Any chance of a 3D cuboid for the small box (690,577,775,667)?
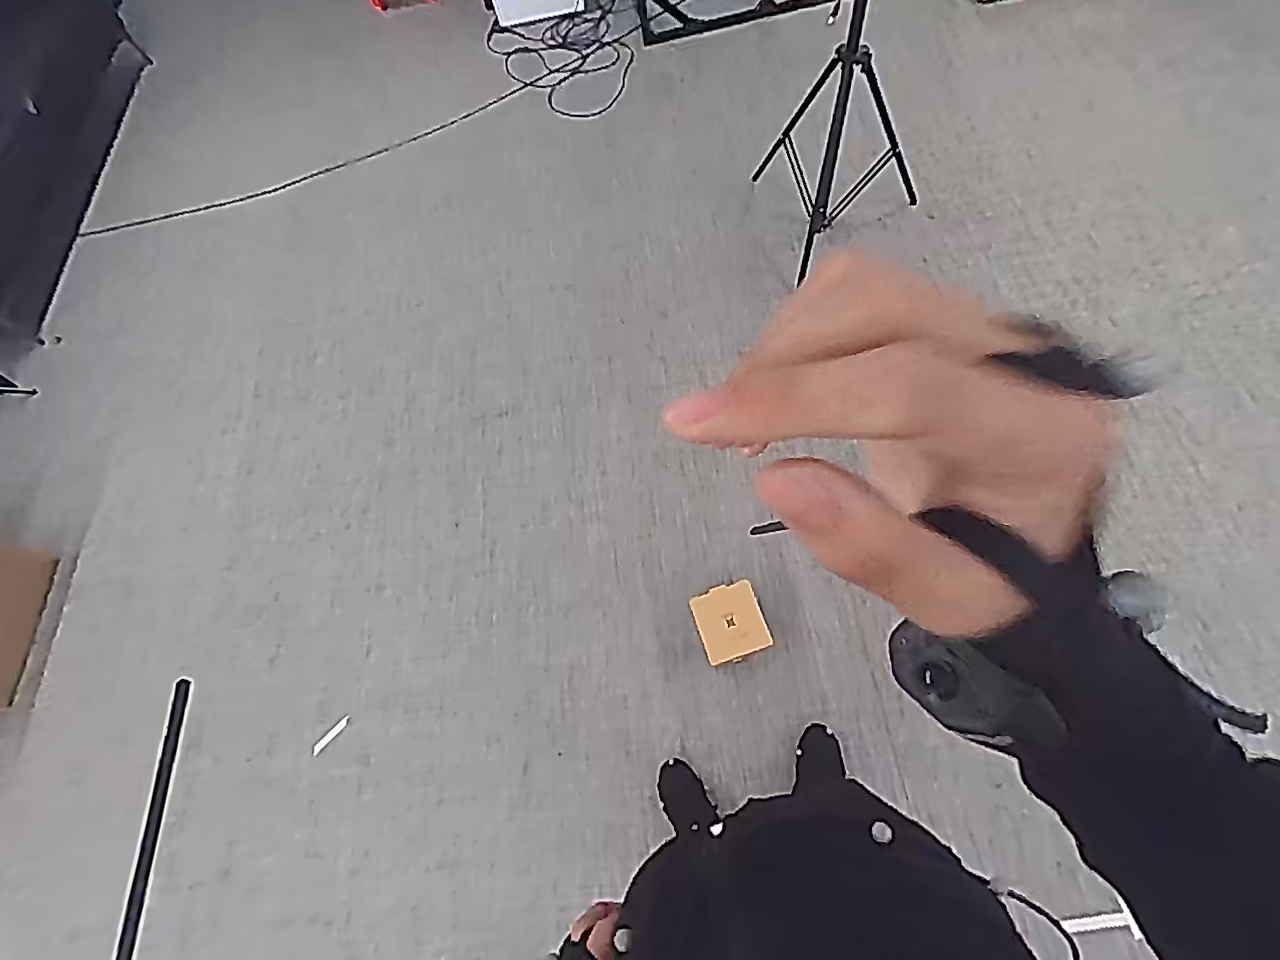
[{"bbox_3d":[0.240,0.379,1.423,0.168,0.176,0.179,-20,66,2],"label":"small box"}]
